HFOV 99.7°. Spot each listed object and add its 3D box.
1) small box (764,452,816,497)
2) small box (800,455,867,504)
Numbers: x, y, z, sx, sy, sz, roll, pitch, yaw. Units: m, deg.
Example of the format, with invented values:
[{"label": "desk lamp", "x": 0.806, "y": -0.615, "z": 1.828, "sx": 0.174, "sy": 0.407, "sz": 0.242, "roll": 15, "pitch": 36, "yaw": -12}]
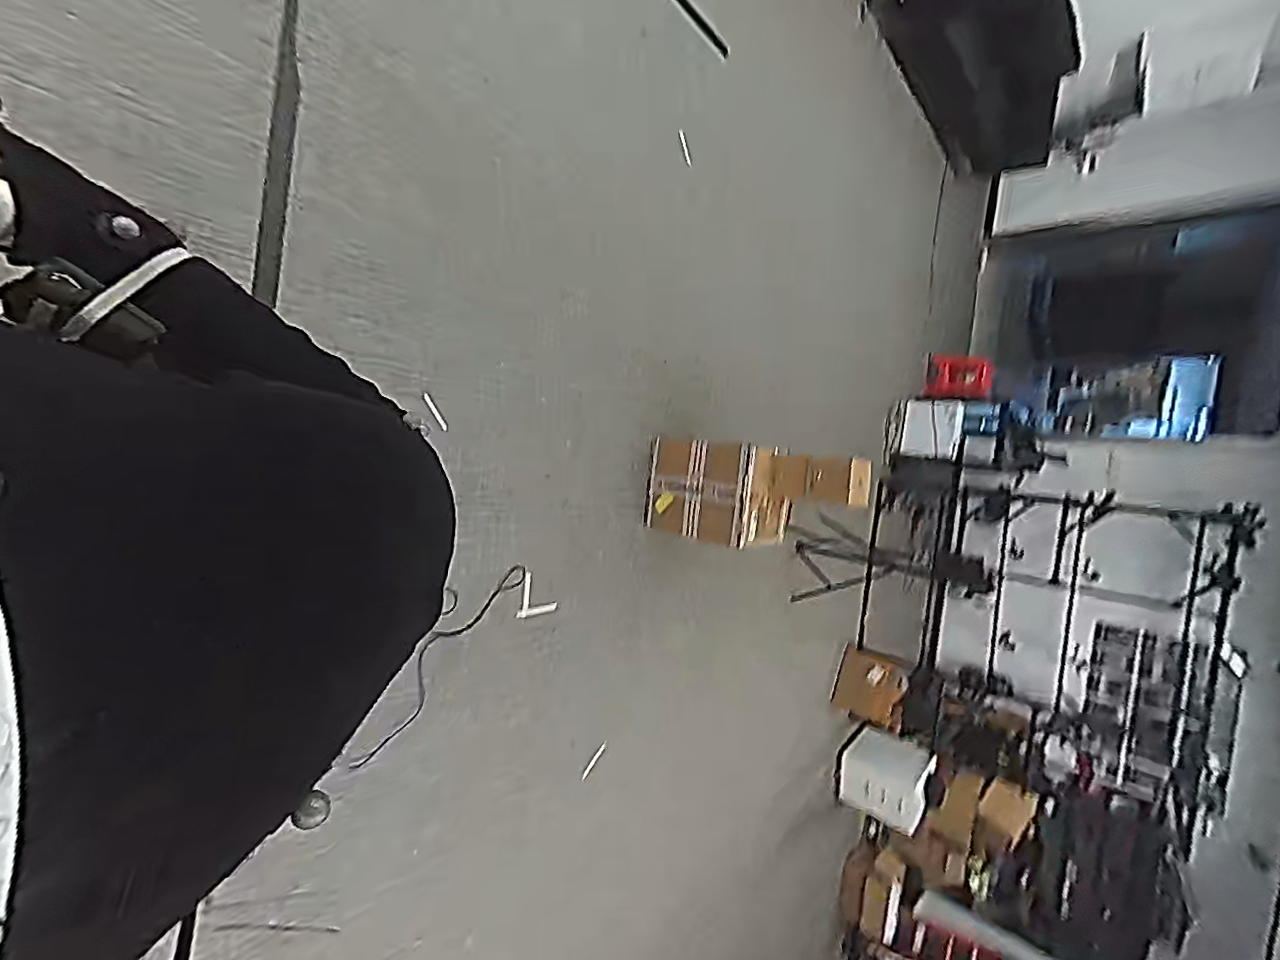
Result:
[{"label": "small box", "x": 0.608, "y": -0.020, "z": 2.116, "sx": 0.179, "sy": 0.176, "sz": 0.168, "roll": 3, "pitch": 92, "yaw": -46}, {"label": "small box", "x": 0.710, "y": -0.002, "z": 1.988, "sx": 0.179, "sy": 0.176, "sz": 0.168, "roll": 3, "pitch": 92, "yaw": -45}]
